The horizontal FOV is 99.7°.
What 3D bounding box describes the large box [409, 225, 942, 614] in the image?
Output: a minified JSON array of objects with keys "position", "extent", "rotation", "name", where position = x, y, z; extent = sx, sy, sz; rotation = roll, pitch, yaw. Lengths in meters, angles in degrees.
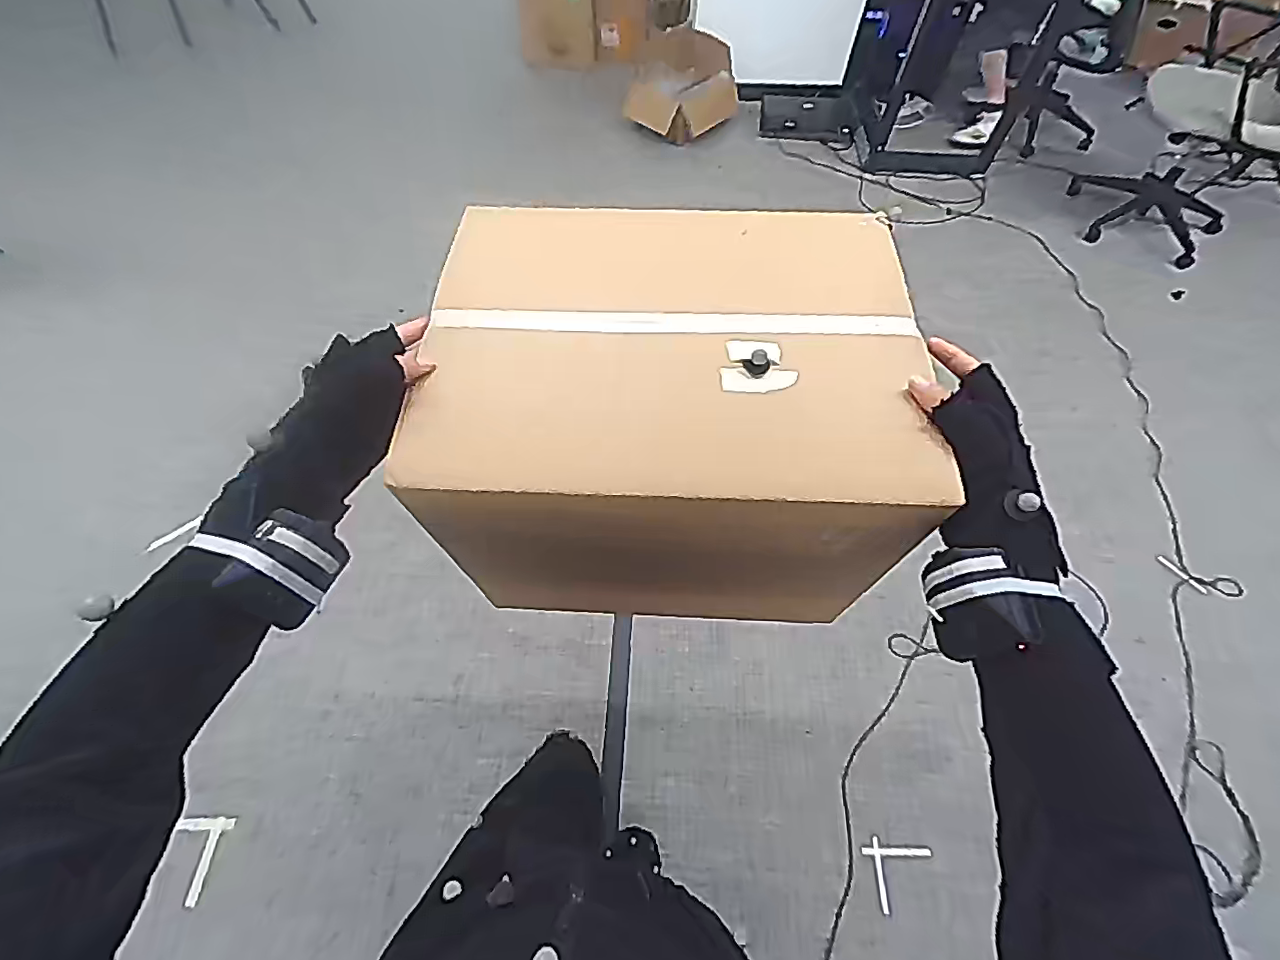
[{"position":[0.029,-0.048,0.598],"extent":[0.408,0.320,0.320],"rotation":[2,61,2],"name":"large box"}]
